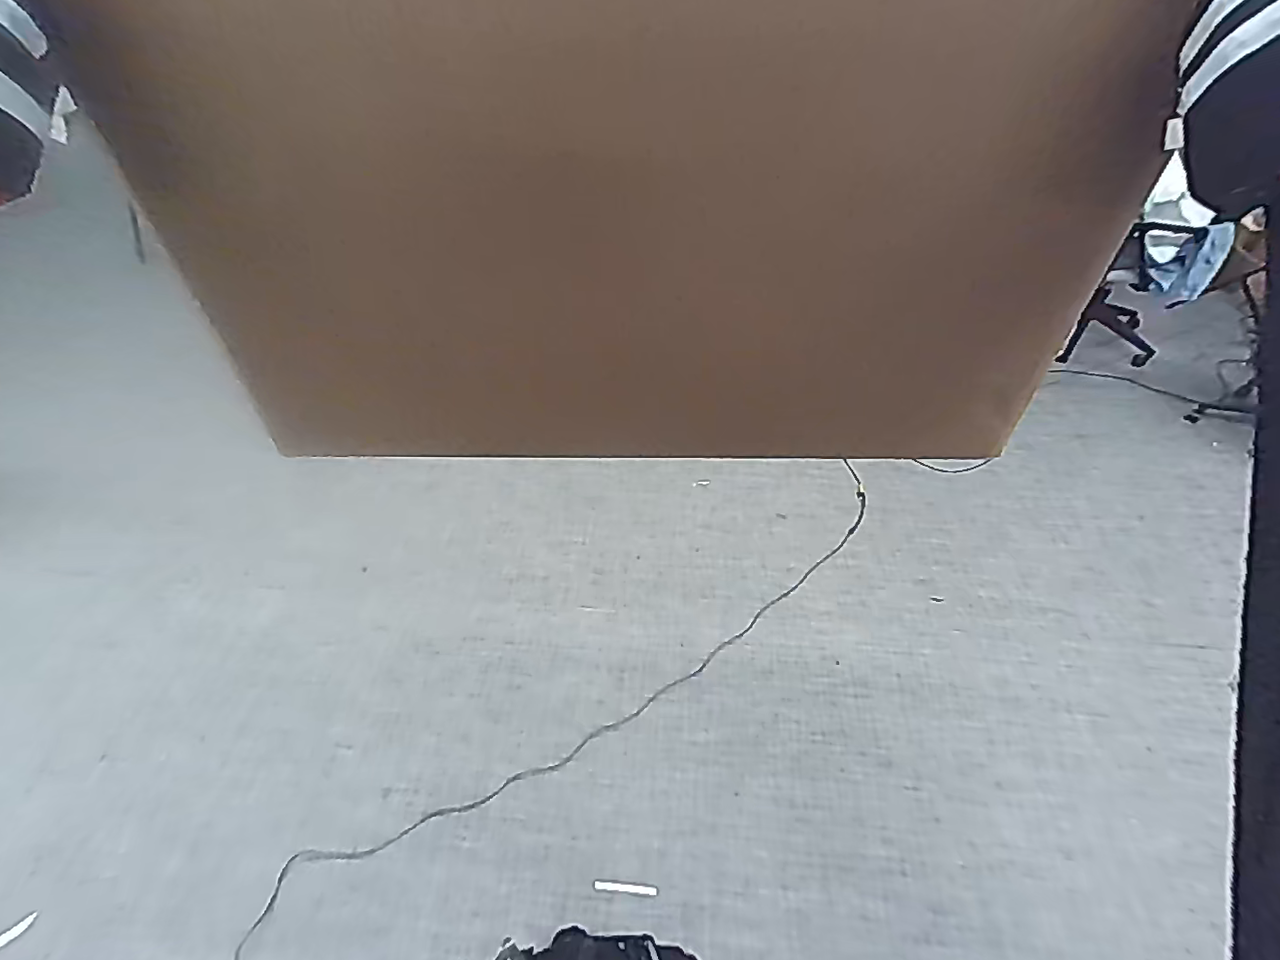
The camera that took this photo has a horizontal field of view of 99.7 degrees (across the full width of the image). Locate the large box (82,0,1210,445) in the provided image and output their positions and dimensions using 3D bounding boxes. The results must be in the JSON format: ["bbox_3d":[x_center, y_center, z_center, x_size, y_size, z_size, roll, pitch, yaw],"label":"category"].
[{"bbox_3d":[0.001,-0.230,0.327,0.408,0.320,0.320,1,42,-1],"label":"large box"}]
